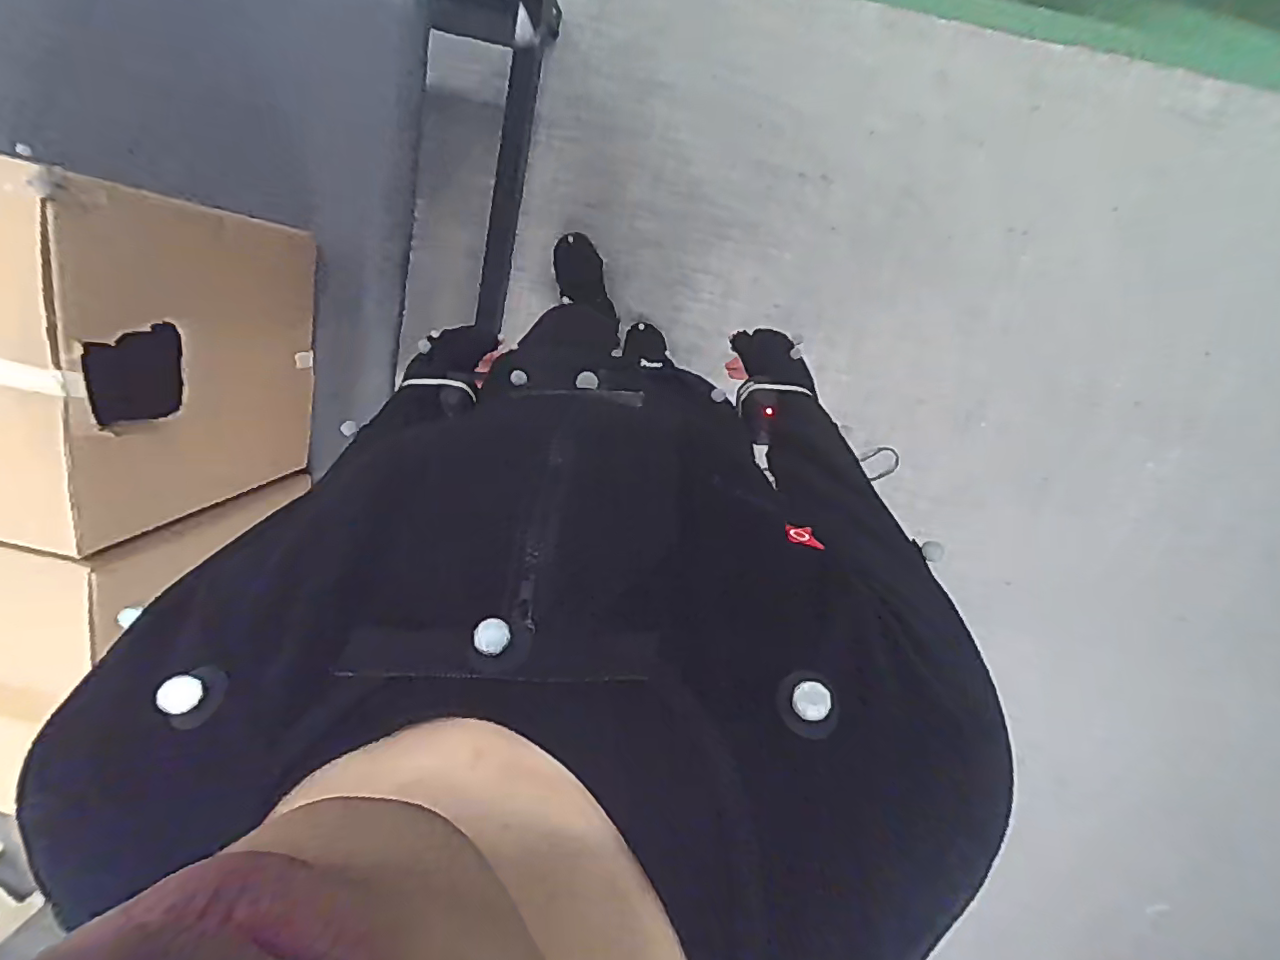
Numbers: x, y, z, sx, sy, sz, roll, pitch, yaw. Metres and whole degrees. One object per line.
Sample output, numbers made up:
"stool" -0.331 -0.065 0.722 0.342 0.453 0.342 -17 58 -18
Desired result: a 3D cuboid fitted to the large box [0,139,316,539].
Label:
"large box" -0.631 -0.169 0.566 0.408 0.320 0.320 12 107 -2
